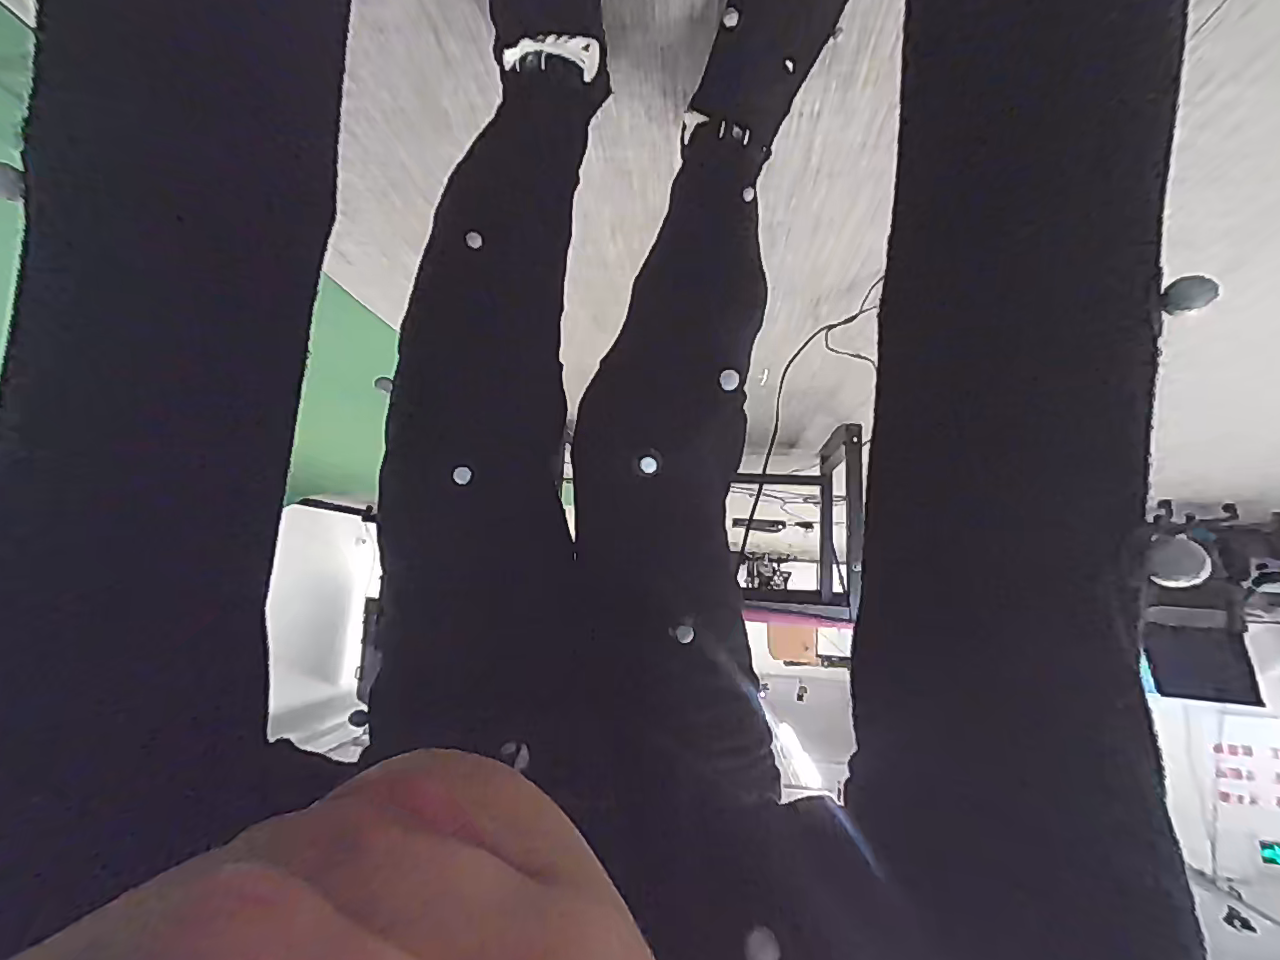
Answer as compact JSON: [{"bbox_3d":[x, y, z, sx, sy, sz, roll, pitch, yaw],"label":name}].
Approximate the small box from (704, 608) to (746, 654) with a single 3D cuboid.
[{"bbox_3d":[0.362,0.638,2.303,0.168,0.176,0.179,2,168,9],"label":"small box"}]
